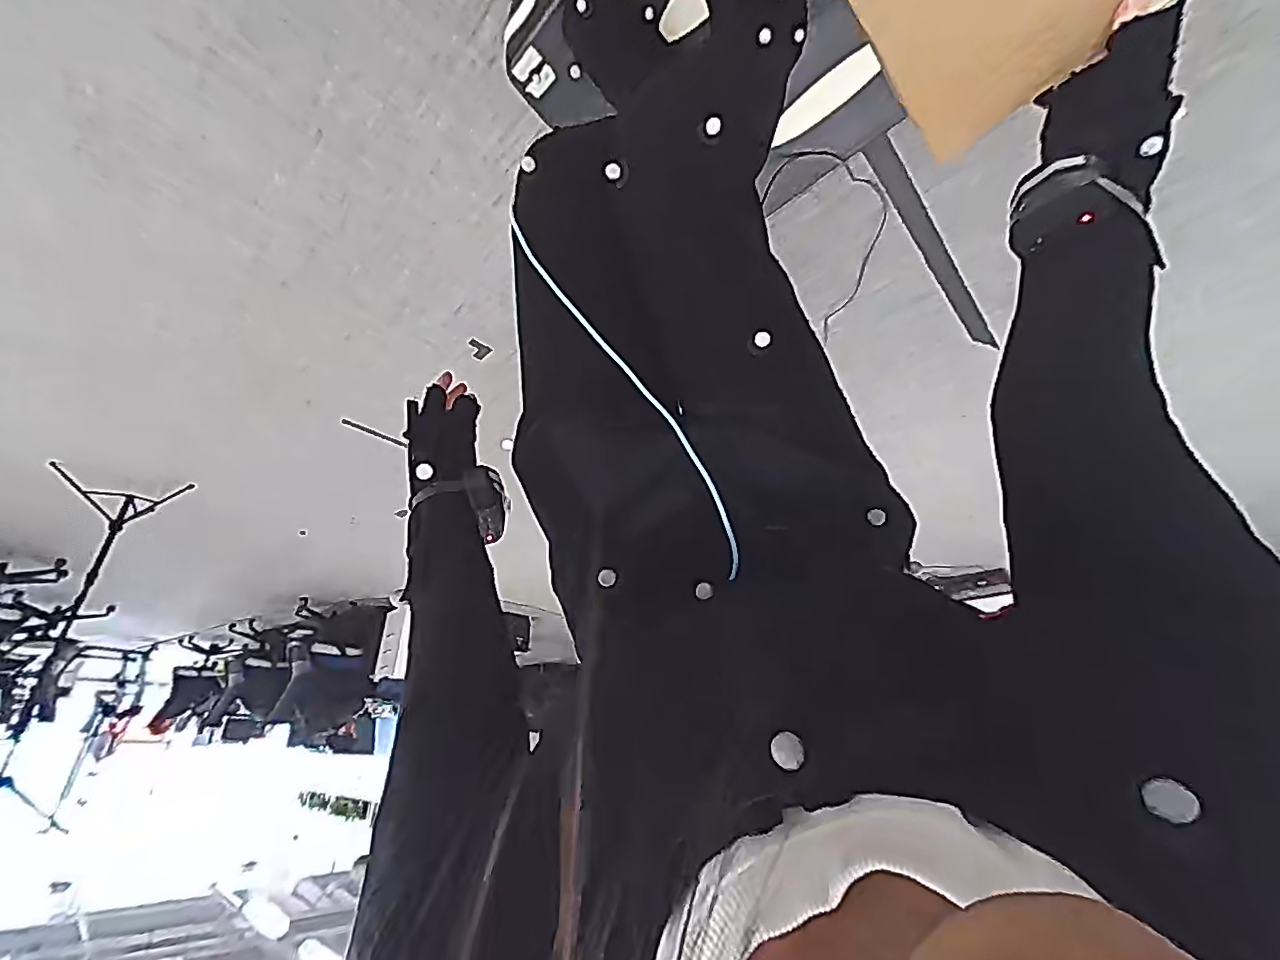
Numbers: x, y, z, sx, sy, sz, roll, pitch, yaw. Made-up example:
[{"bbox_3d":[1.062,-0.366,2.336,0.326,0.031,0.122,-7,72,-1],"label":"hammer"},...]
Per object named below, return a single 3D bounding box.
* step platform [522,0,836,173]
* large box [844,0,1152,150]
[{"bbox_3d":[0.137,-0.752,0.709,0.286,0.204,0.684,24,144,-38],"label":"step platform"},{"bbox_3d":[0.268,-0.580,0.419,0.408,0.320,0.320,39,135,-27],"label":"large box"}]
